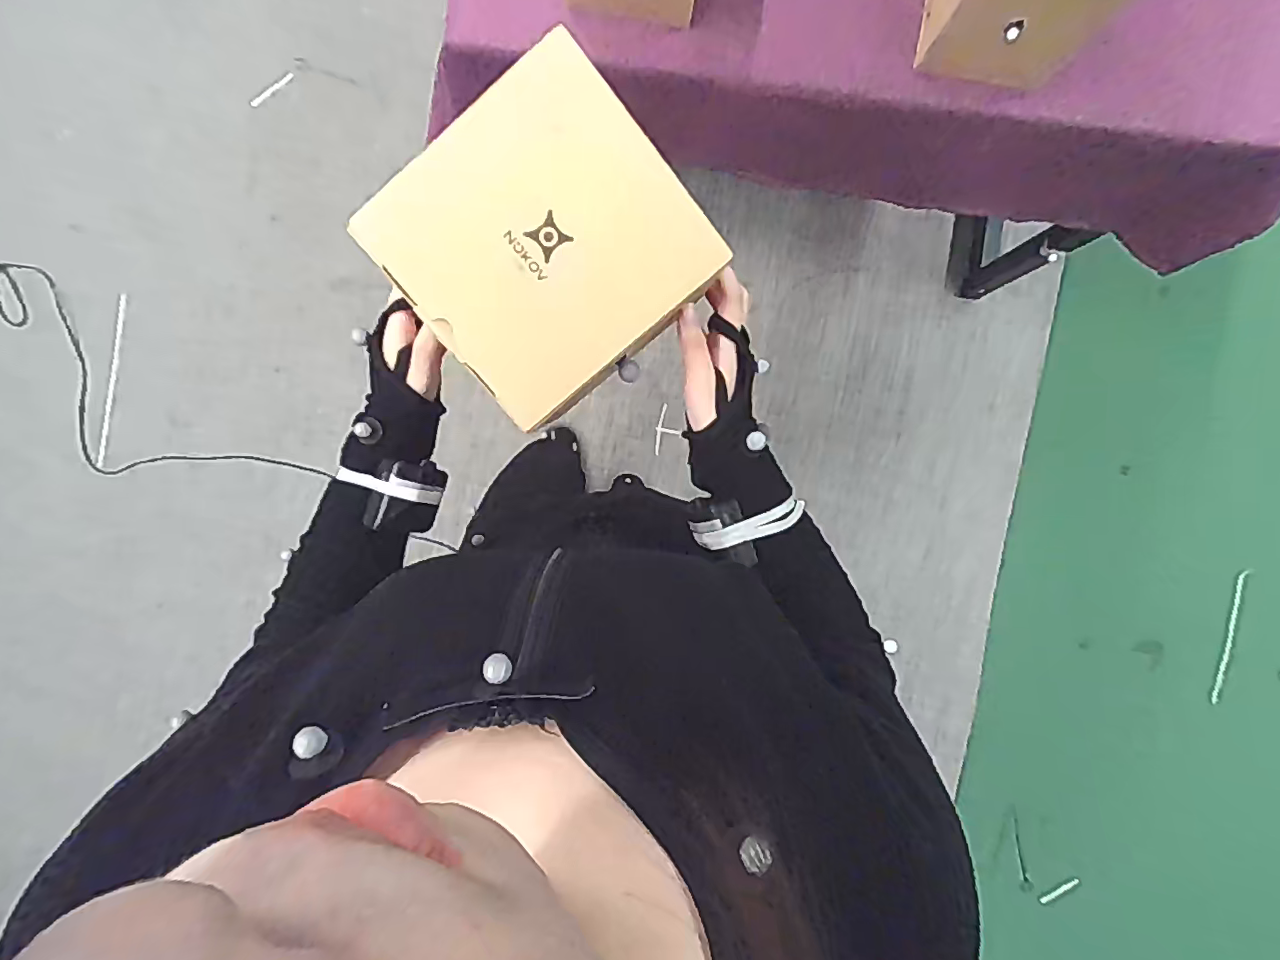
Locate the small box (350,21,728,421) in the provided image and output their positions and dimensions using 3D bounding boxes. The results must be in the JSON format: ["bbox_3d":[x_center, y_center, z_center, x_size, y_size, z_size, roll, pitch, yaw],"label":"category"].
[{"bbox_3d":[-0.063,-0.167,0.409,0.179,0.176,0.168,-39,99,6],"label":"small box"}]

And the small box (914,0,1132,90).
[{"bbox_3d":[0.475,-0.625,0.665,0.179,0.176,0.168,11,91,1],"label":"small box"}]

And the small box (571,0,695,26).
[{"bbox_3d":[-0.003,-0.716,0.668,0.179,0.176,0.168,11,91,0],"label":"small box"}]
